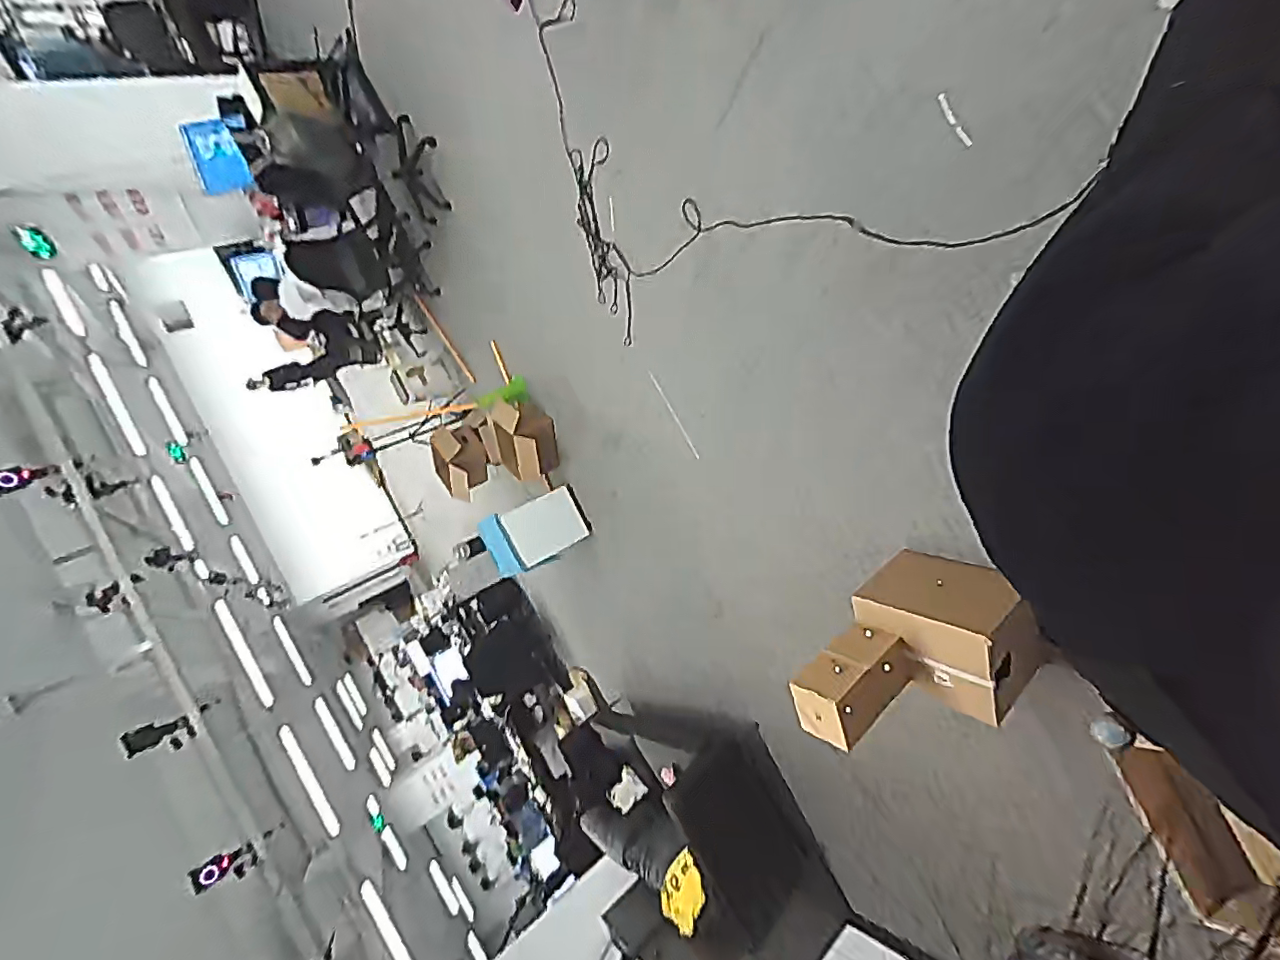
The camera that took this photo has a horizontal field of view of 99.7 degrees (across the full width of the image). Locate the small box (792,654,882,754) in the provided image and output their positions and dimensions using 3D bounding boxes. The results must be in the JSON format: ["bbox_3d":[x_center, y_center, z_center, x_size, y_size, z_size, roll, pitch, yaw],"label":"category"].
[{"bbox_3d":[0.580,0.648,1.583,0.168,0.176,0.179,4,117,57],"label":"small box"}]
